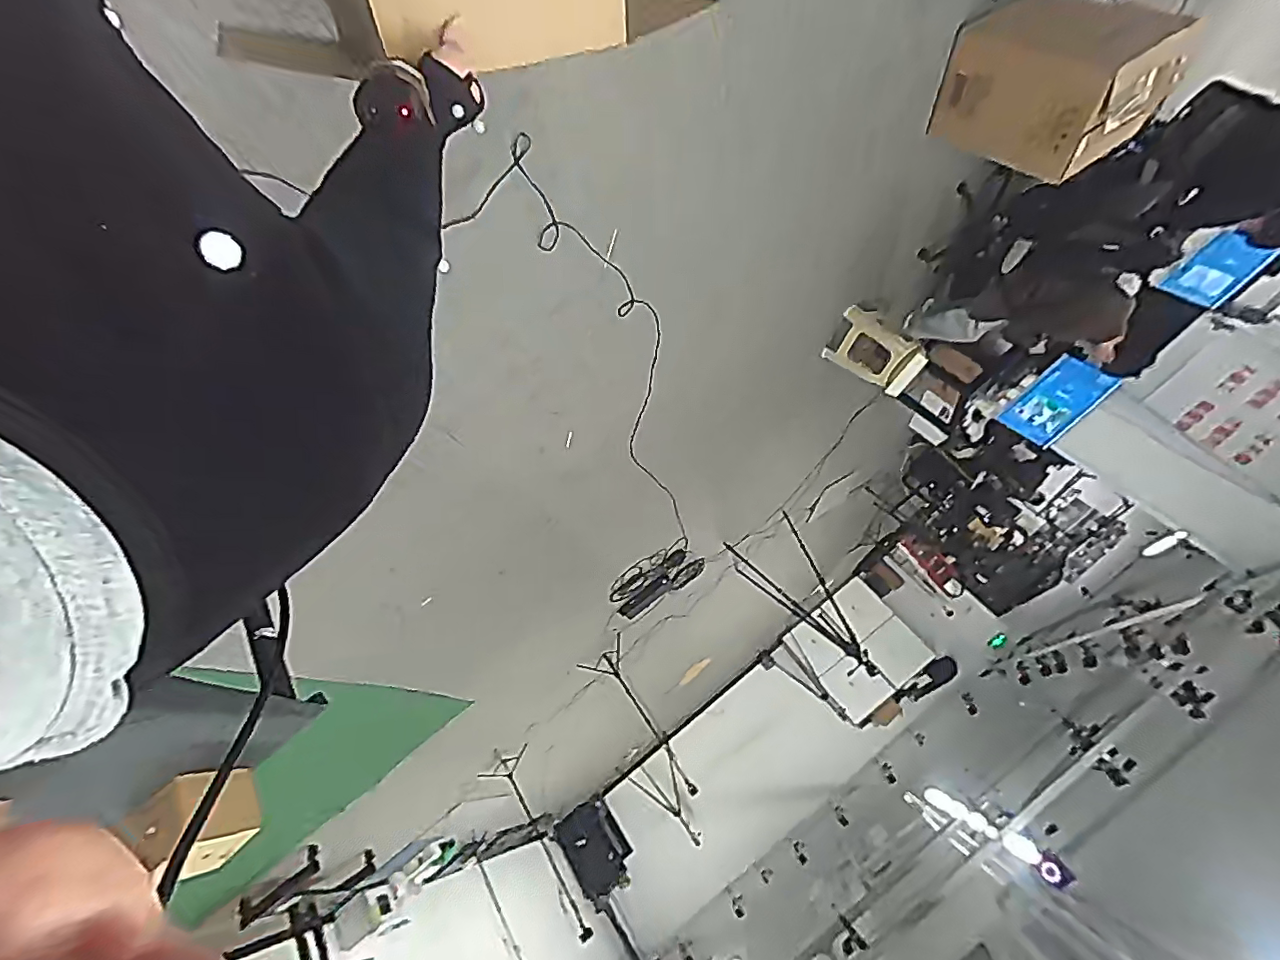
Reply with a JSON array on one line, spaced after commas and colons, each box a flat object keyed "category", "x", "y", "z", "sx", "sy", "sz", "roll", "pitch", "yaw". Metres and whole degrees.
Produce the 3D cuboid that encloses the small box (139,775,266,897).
[{"category": "small box", "x": -1.068, "y": 0.853, "z": 1.316, "sx": 0.168, "sy": 0.176, "sz": 0.179, "roll": -43, "pitch": 149, "yaw": 3}]
